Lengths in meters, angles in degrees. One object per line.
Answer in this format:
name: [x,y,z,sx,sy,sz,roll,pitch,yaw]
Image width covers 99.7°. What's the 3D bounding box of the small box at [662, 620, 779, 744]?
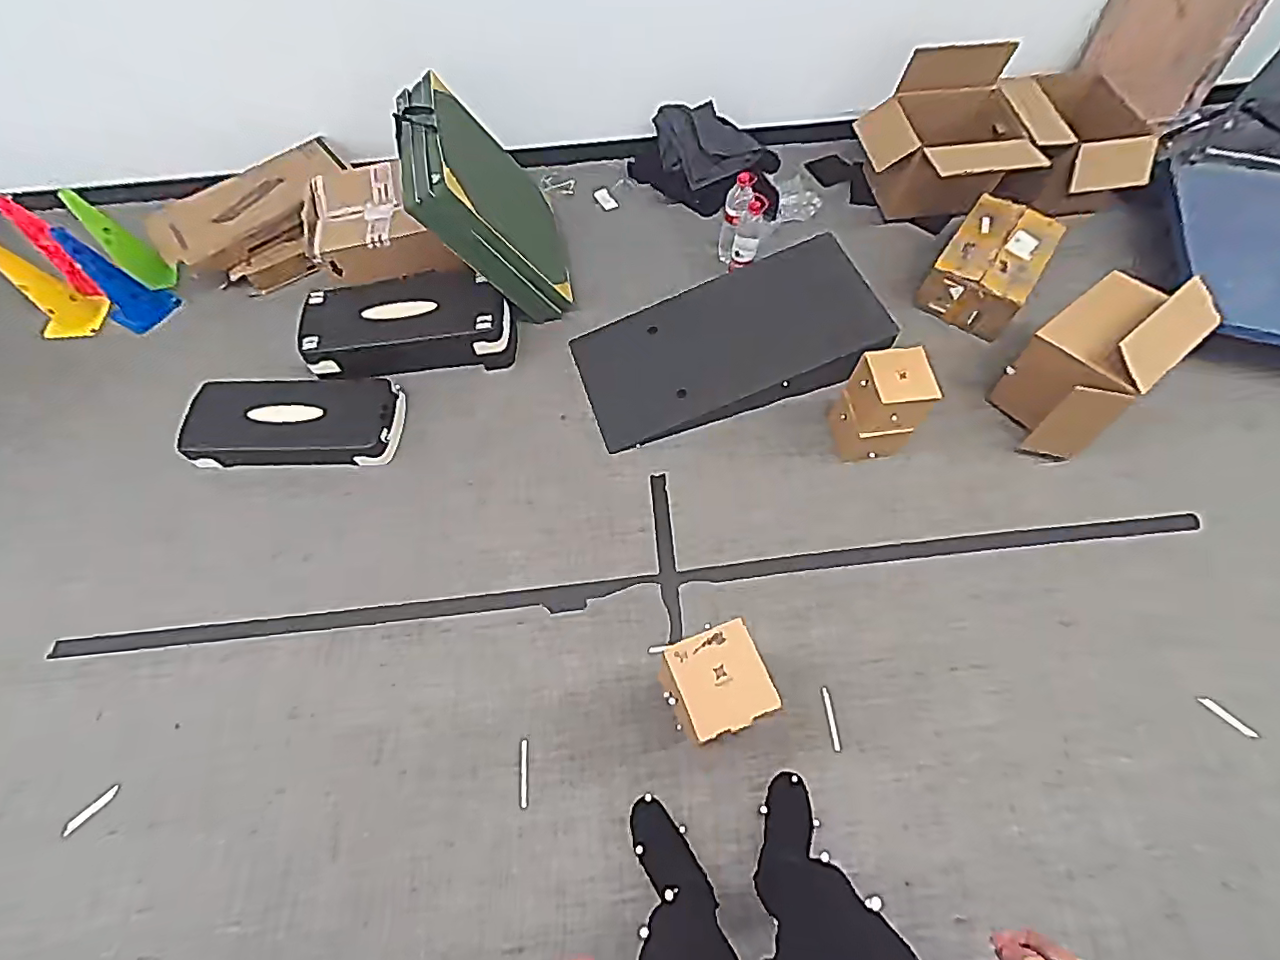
small box: [0.150,0.401,1.073,0.168,0.176,0.179,-20,66,-9]
